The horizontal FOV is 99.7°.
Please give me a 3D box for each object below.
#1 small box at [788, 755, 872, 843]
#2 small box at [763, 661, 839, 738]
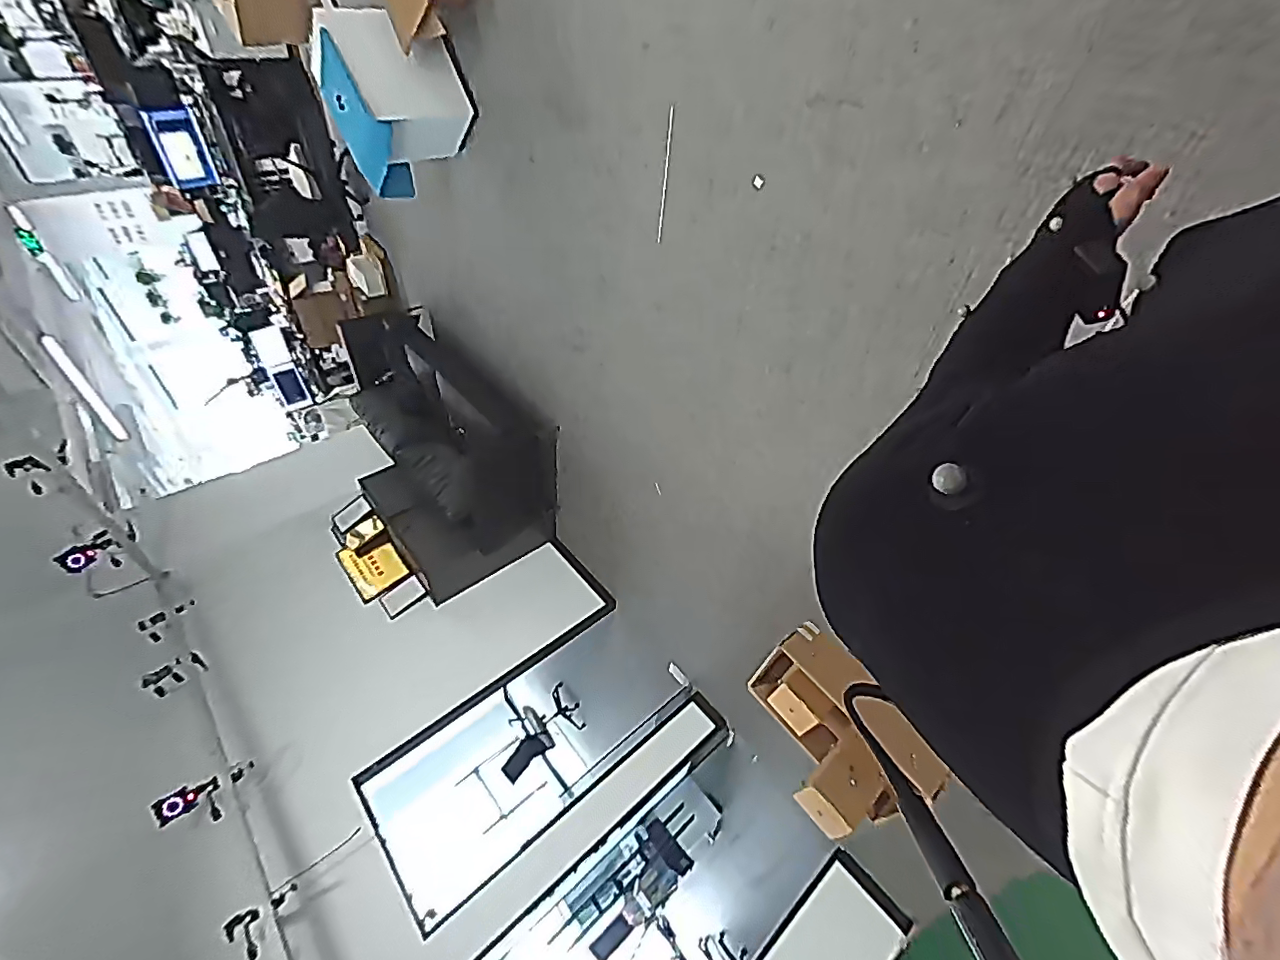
[{"bbox_3d":[0.623,1.041,1.768,0.168,0.176,0.179,44,145,26],"label":"small box"},{"bbox_3d":[0.583,0.791,1.954,0.168,0.176,0.179,46,145,25],"label":"small box"}]
